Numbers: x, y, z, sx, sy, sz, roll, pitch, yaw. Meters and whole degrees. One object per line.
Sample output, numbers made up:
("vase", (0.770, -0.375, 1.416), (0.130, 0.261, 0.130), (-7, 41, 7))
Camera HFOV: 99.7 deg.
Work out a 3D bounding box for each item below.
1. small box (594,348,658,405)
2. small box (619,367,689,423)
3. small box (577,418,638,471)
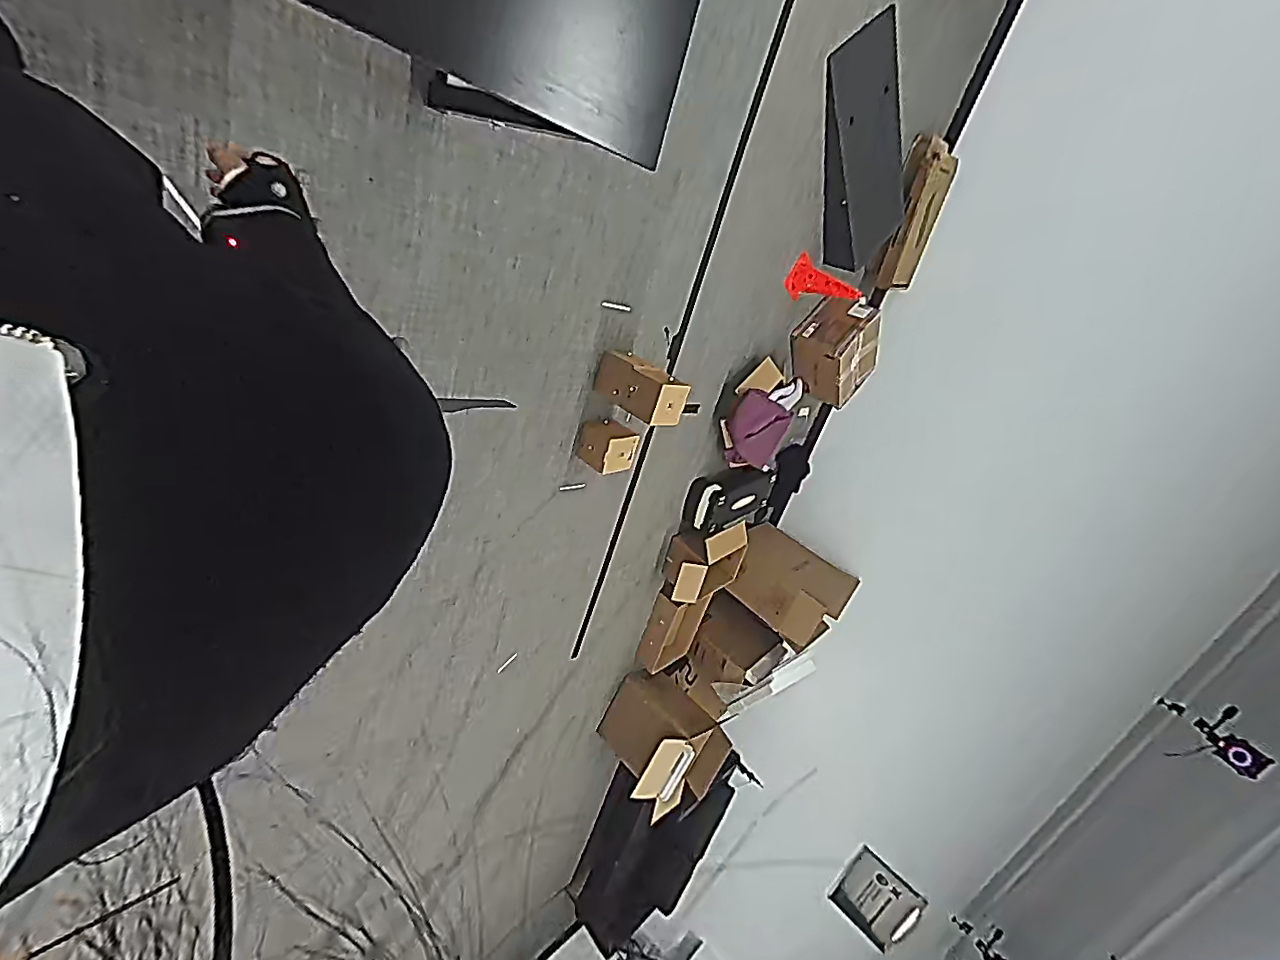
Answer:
("small box", (-0.062, -0.411, 2.169), (0.168, 0.176, 0.179), (-8, 124, -49))
("small box", (0.051, -0.328, 2.087), (0.179, 0.176, 0.168), (-8, 124, -47))
("small box", (-0.144, -0.154, 2.296), (0.179, 0.176, 0.168), (-12, 128, -46))
